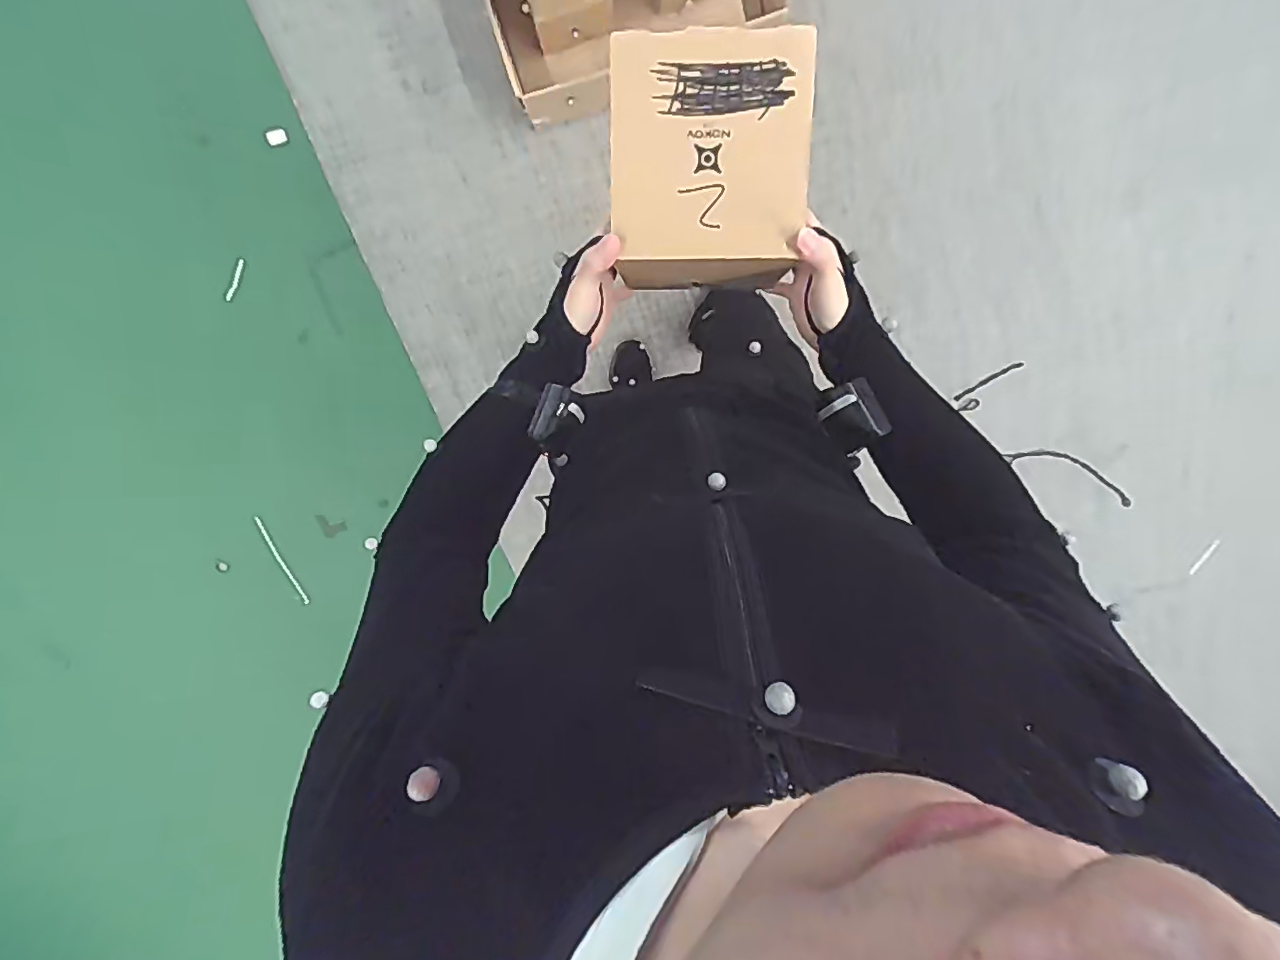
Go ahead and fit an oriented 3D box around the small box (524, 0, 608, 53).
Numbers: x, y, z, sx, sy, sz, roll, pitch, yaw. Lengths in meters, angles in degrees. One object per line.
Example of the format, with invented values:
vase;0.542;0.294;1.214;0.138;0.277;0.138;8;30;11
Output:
small box;-0.168;-1.047;1.143;0.168;0.176;0.179;-17;108;2

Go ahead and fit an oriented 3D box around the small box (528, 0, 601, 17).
small box;-0.154;-0.998;0.990;0.168;0.176;0.179;-18;108;2
